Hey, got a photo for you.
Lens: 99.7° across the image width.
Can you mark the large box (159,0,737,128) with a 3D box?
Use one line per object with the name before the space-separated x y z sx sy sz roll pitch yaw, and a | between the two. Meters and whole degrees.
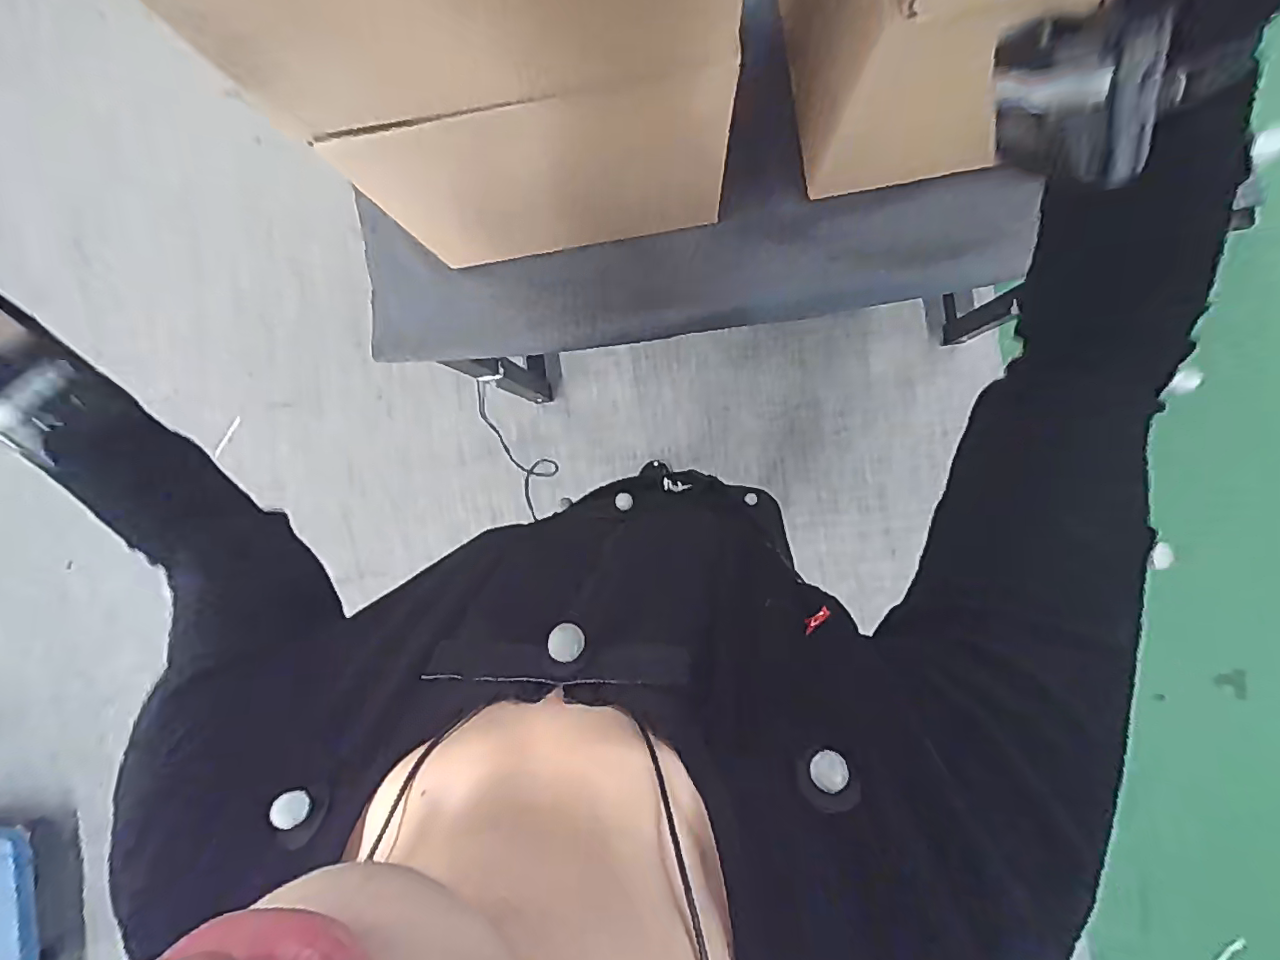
large box | -0.145 -0.489 0.331 0.408 0.320 0.320 -7 90 3
